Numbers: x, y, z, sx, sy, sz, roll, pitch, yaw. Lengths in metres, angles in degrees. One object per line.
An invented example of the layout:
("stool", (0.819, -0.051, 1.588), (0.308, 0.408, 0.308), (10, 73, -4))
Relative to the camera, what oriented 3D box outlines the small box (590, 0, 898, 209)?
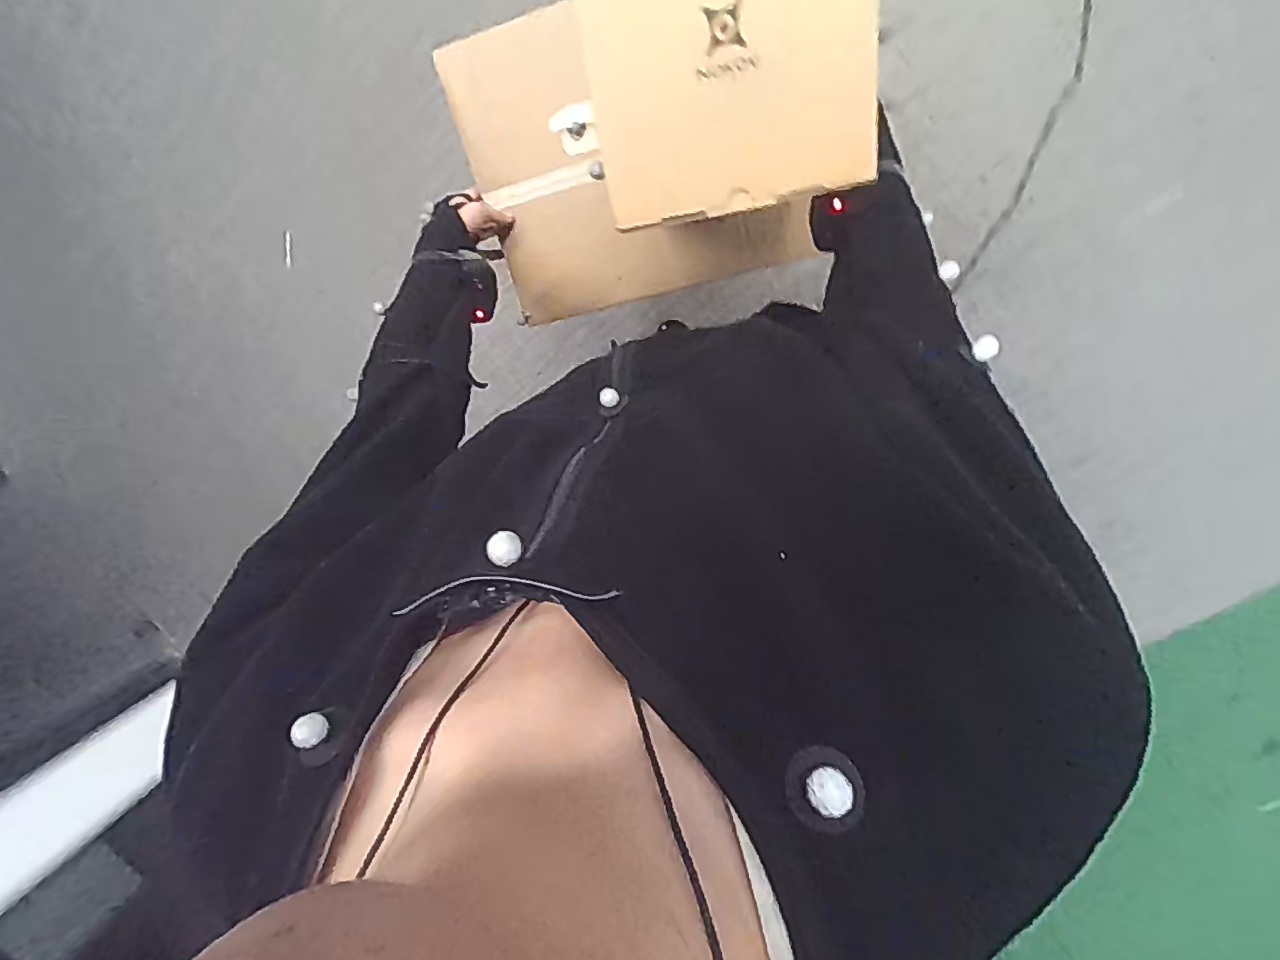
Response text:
("small box", (0.063, -0.296, 0.364), (0.168, 0.176, 0.179), (-7, 119, 11))
